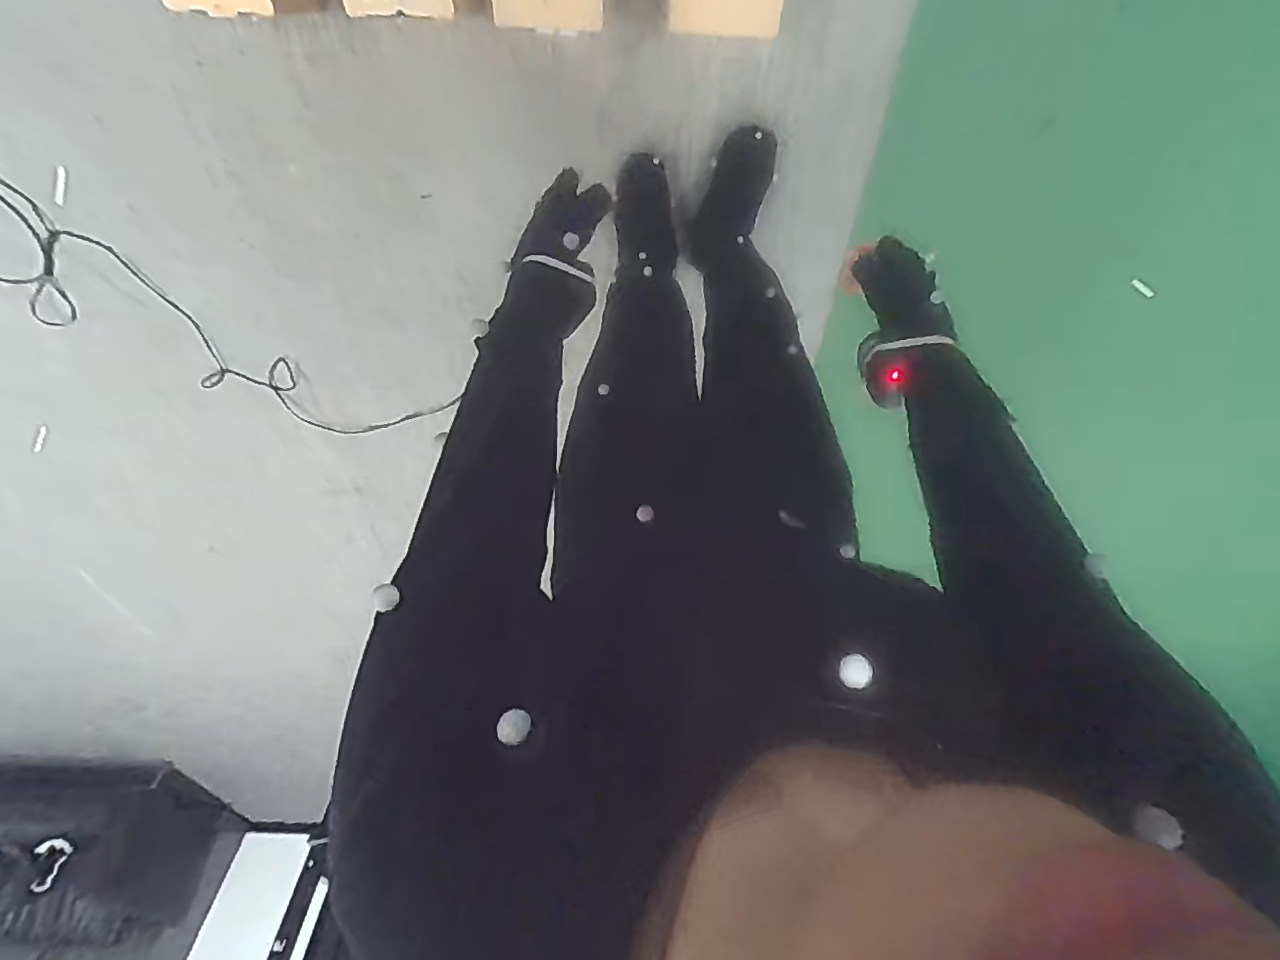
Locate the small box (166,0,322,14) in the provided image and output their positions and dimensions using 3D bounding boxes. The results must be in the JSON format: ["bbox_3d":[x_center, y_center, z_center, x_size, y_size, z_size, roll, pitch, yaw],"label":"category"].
[{"bbox_3d":[-0.622,-0.825,0.815,0.168,0.176,0.179,3,133,0],"label":"small box"}]

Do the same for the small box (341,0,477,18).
[{"bbox_3d":[-0.356,-0.814,0.810,0.168,0.176,0.179,3,131,1],"label":"small box"}]

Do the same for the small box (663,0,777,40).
[{"bbox_3d":[0.124,-0.791,0.818,0.168,0.176,0.179,3,132,-1],"label":"small box"}]
